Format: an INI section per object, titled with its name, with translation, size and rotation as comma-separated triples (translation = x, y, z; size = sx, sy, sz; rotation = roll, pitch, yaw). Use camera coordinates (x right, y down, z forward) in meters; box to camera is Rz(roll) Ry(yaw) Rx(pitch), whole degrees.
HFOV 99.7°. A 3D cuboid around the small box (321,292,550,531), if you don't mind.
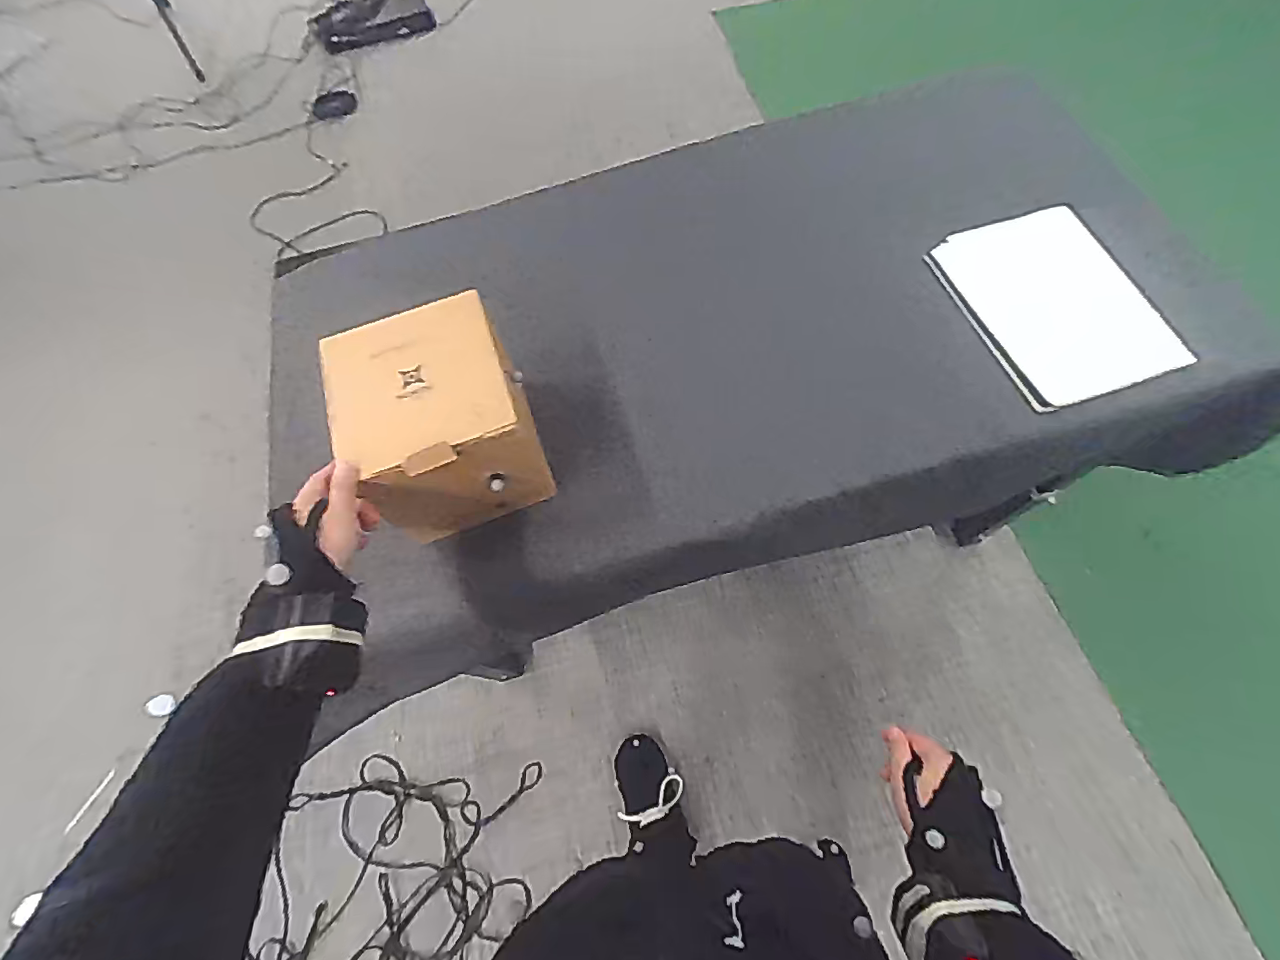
[small box]
translation = -0.209, -0.061, 0.584
size = 0.168, 0.176, 0.179
rotation = -20, 64, -5
